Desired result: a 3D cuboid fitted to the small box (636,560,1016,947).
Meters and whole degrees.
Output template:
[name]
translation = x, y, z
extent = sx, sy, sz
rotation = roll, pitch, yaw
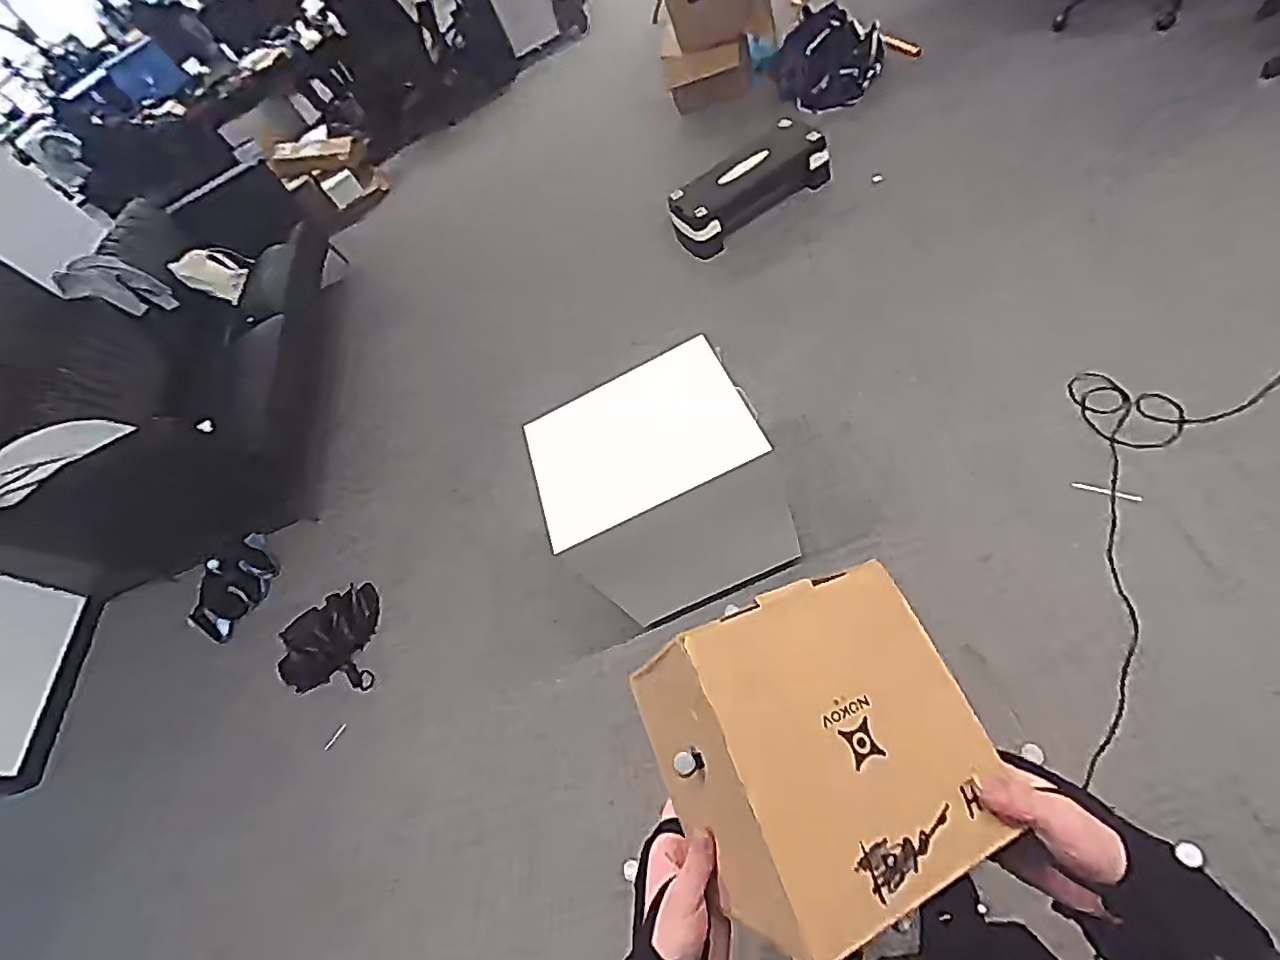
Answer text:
[small box]
translation = 0.109, 0.186, 0.402
extent = 0.168, 0.176, 0.179
rotation = -15, 66, -19
